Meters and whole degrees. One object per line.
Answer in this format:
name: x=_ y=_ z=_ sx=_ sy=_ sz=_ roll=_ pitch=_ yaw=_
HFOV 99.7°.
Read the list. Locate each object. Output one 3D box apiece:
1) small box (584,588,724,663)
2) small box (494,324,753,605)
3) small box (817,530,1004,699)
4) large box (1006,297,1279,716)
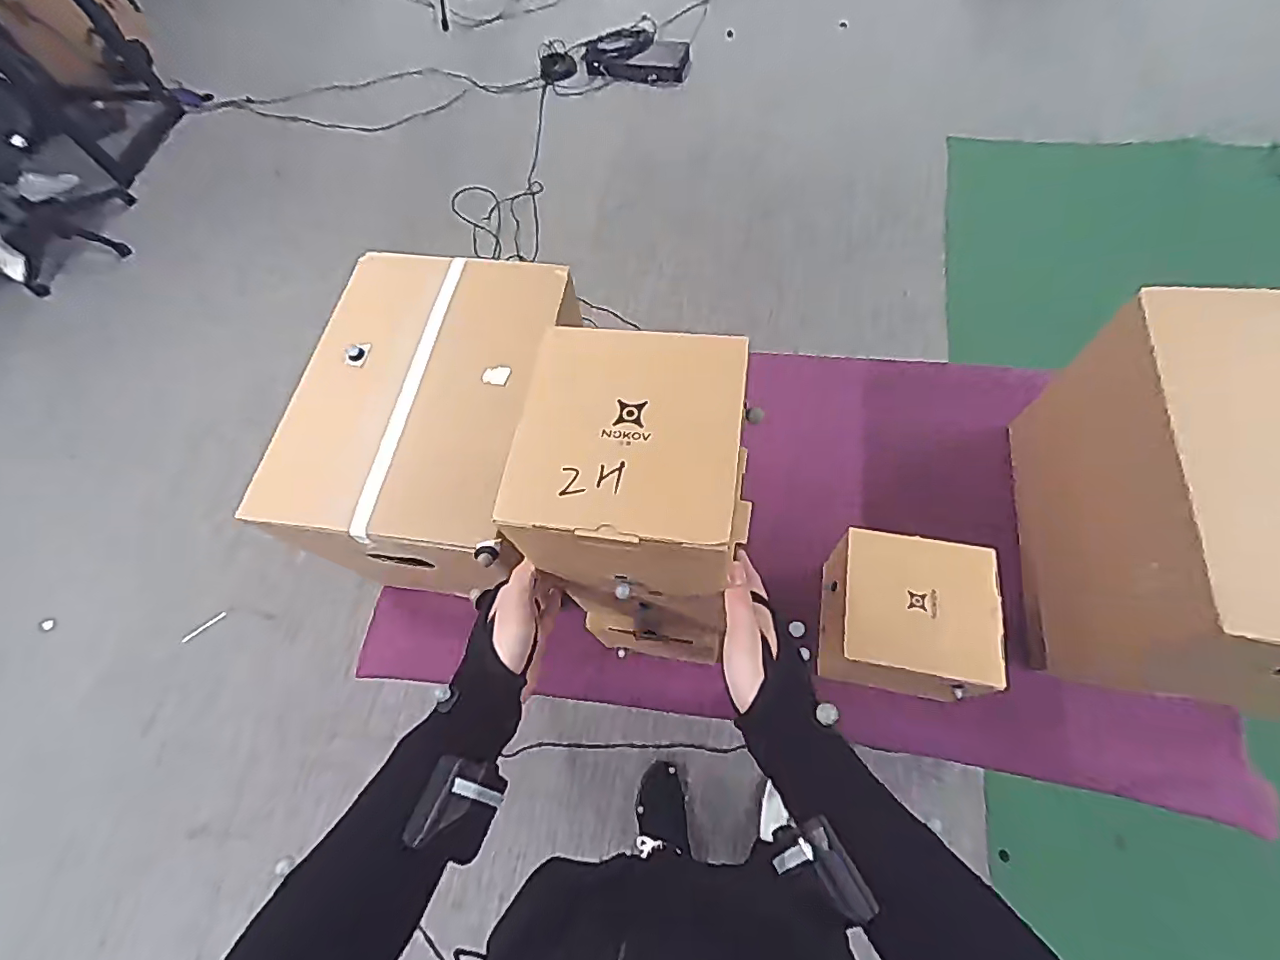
small box: x=0.033 y=0.147 z=0.754 sx=0.168 sy=0.176 sz=0.179 roll=7 pitch=64 yaw=9
small box: x=0.000 y=-0.006 z=0.464 sx=0.168 sy=0.176 sz=0.179 roll=6 pitch=66 yaw=10
small box: x=0.337 y=0.182 z=0.709 sx=0.179 sy=0.176 sz=0.168 roll=8 pitch=65 yaw=10
large box: x=0.703 y=0.045 z=0.658 sx=0.320 sy=0.320 sz=0.408 roll=7 pitch=66 yaw=11
